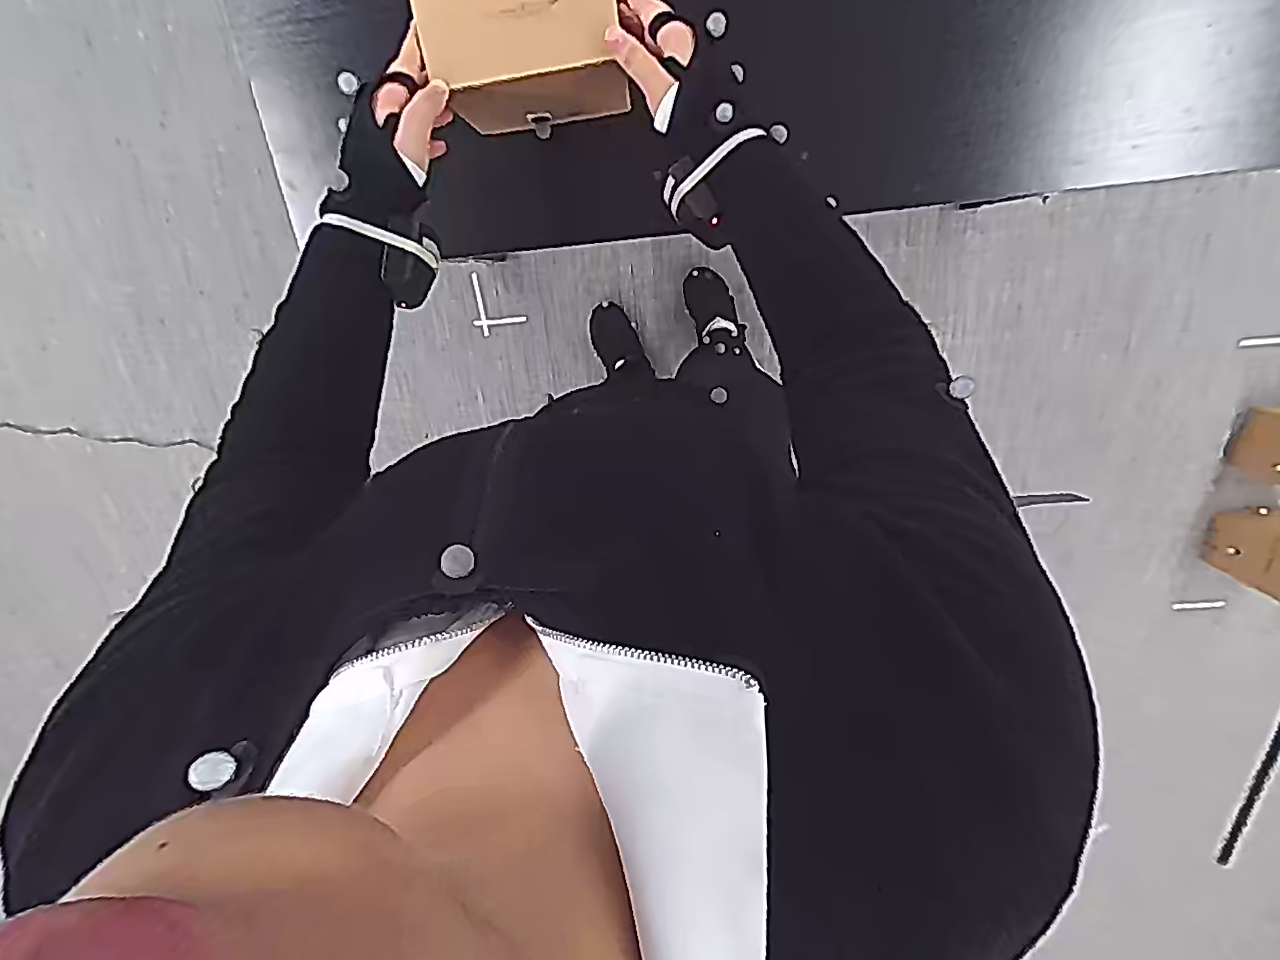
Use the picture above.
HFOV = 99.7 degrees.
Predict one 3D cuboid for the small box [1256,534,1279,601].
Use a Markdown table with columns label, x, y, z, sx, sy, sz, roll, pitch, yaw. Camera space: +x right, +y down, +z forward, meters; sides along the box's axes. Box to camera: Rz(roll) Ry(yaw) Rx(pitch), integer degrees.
| label | x | y | z | sx | sy | sz | roll | pitch | yaw |
| --- | --- | --- | --- | --- | --- | --- | --- | --- | --- |
| small box | 1.722 | 0.238 | 1.350 | 0.168 | 0.176 | 0.179 | -7 | 112 | 4 |

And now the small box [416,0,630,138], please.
| label | x | y | z | sx | sy | sz | roll | pitch | yaw |
| --- | --- | --- | --- | --- | --- | --- | --- | --- | --- |
| small box | -0.103 | -0.447 | 0.501 | 0.168 | 0.176 | 0.179 | -8 | 112 | 5 |

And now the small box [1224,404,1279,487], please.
| label | x | y | z | sx | sy | sz | roll | pitch | yaw |
| --- | --- | --- | --- | --- | --- | --- | --- | --- | --- |
| small box | 1.689 | -0.092 | 1.395 | 0.168 | 0.176 | 0.179 | -3 | 111 | 2 |

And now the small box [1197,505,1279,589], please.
| label | x | y | z | sx | sy | sz | roll | pitch | yaw |
| --- | --- | --- | --- | --- | --- | --- | --- | --- | --- |
| small box | 1.729 | 0.183 | 1.506 | 0.179 | 0.176 | 0.168 | -7 | 111 | 4 |
